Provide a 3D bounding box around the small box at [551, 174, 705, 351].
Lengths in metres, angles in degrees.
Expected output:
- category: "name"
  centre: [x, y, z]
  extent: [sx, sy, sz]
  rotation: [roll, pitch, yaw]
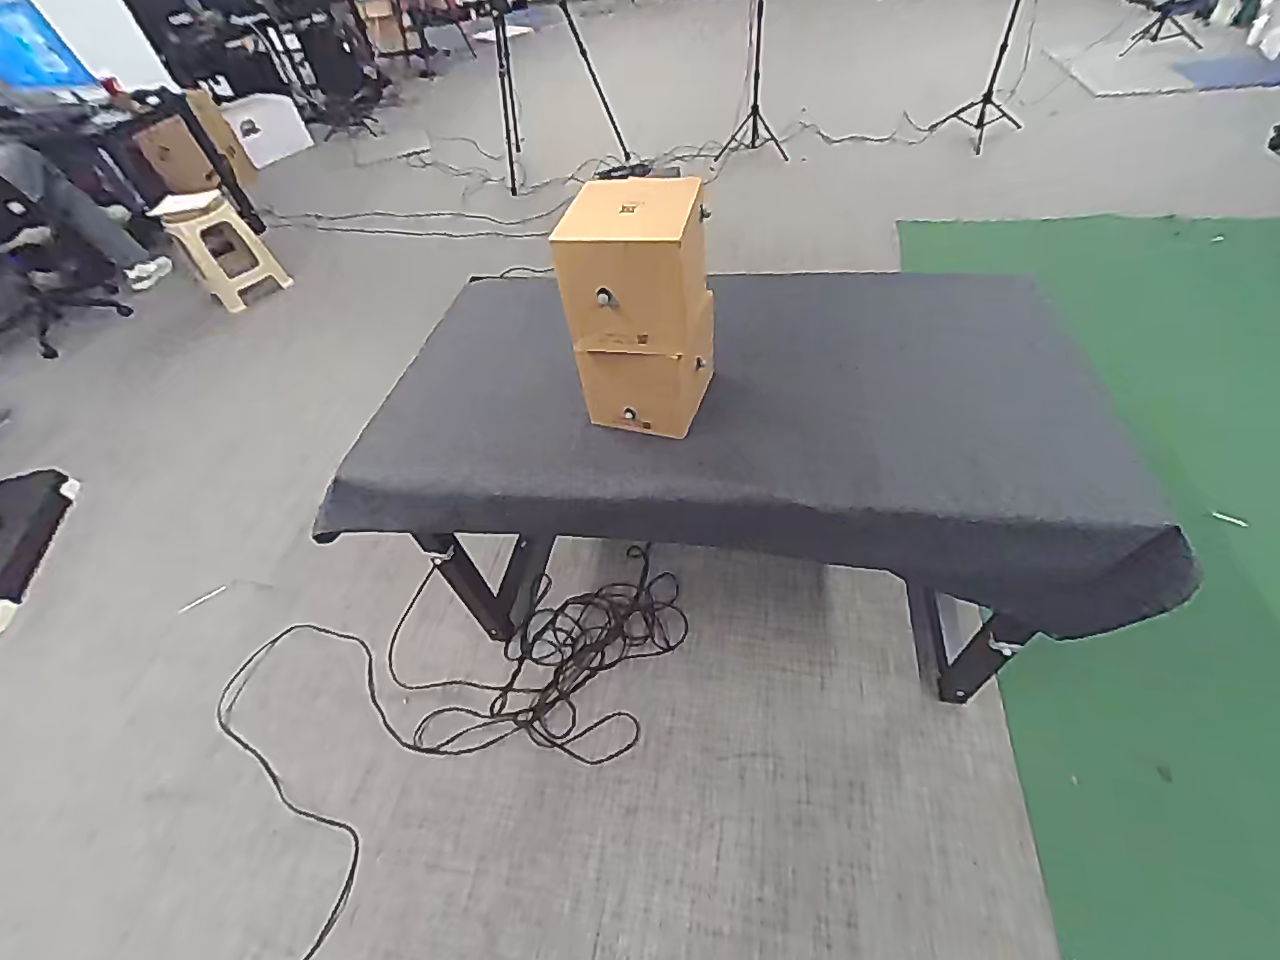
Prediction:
- category: "small box"
  centre: [-0.003, -0.295, 0.745]
  extent: [0.168, 0.176, 0.179]
  rotation: [6, 51, 13]
